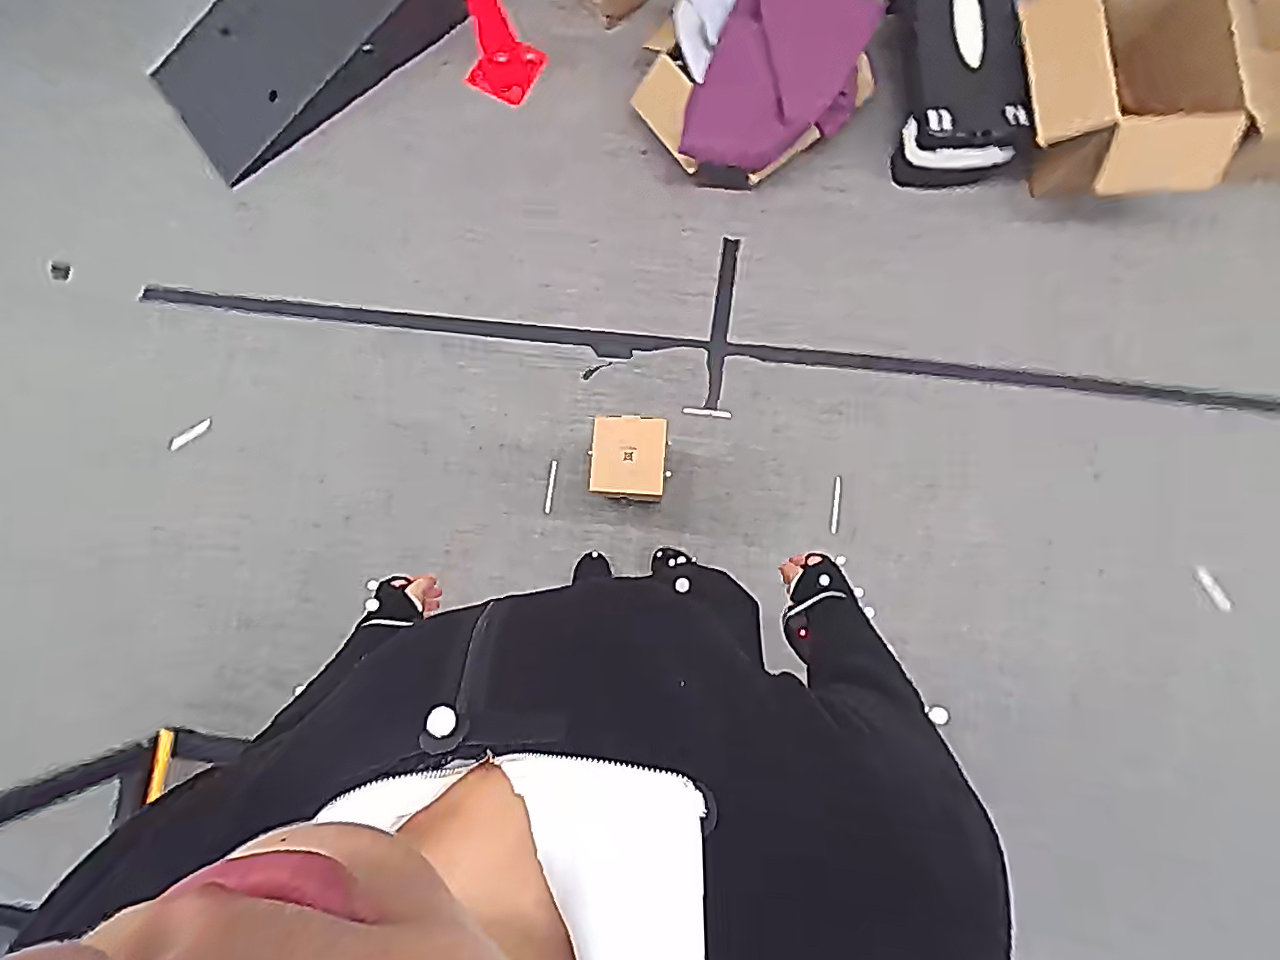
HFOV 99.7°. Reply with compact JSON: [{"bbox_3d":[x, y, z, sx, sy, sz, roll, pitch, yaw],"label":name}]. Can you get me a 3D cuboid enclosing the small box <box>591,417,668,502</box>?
[{"bbox_3d":[-0.020,-0.044,1.293,0.168,0.176,0.179,3,85,4],"label":"small box"}]
